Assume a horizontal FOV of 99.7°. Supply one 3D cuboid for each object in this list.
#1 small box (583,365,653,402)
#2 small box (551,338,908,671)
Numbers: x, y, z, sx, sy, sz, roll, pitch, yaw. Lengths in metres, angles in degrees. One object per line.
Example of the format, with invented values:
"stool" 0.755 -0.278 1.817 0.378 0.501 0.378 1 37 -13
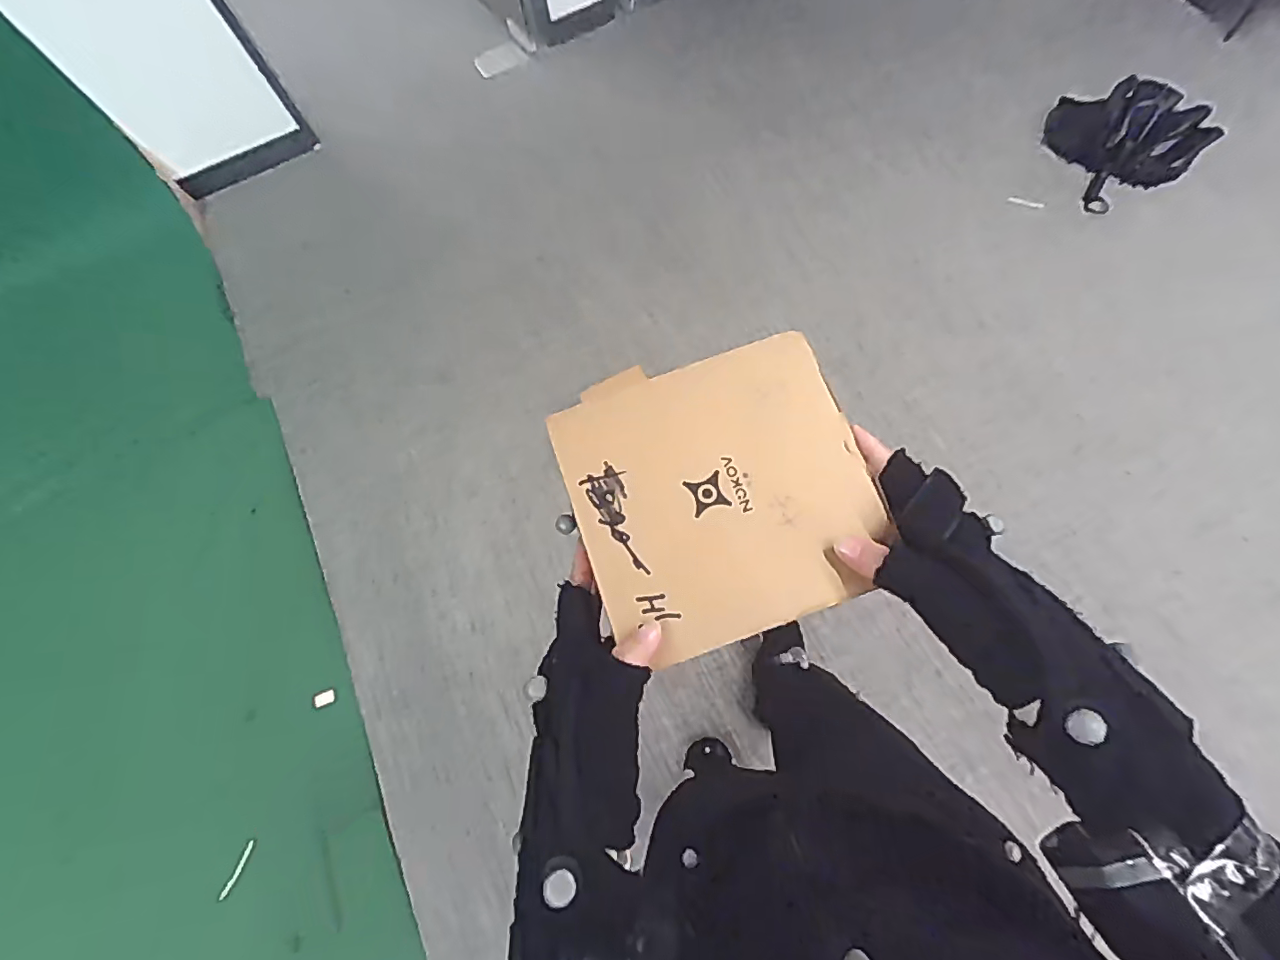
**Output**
"small box" -0.025 -0.163 1.414 0.179 0.176 0.168 -28 70 -3
"small box" 0.052 0.028 0.402 0.179 0.176 0.168 -19 74 -2
